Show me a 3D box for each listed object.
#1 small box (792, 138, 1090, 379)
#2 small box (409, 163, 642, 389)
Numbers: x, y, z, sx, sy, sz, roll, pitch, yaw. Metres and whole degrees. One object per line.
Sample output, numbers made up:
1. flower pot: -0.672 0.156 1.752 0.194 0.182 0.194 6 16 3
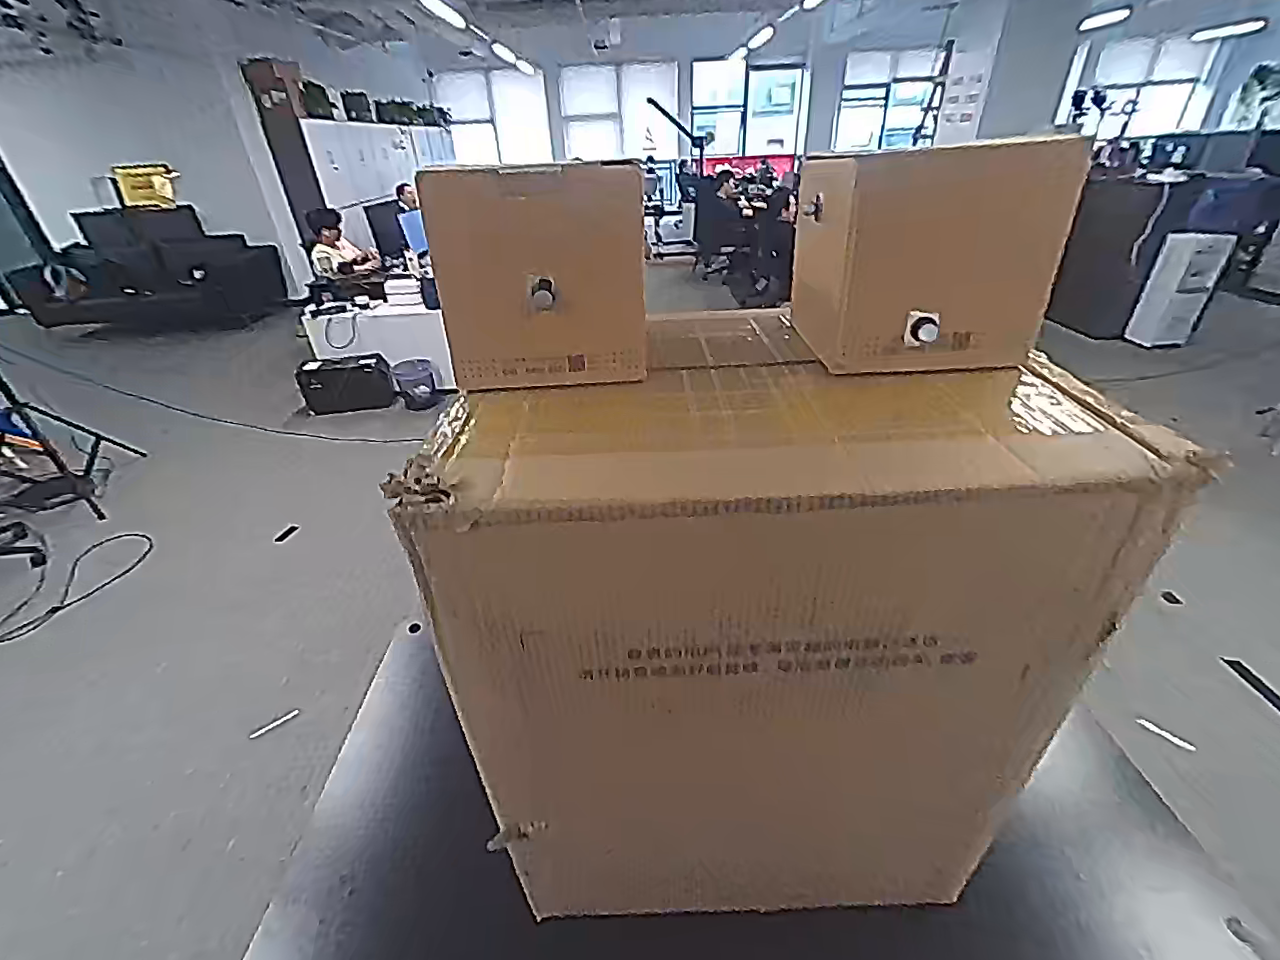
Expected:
1. small box: 0.239 -0.201 0.490 0.168 0.176 0.179 -4 31 4
2. small box: -0.088 -0.188 0.500 0.168 0.176 0.179 -5 32 -4
